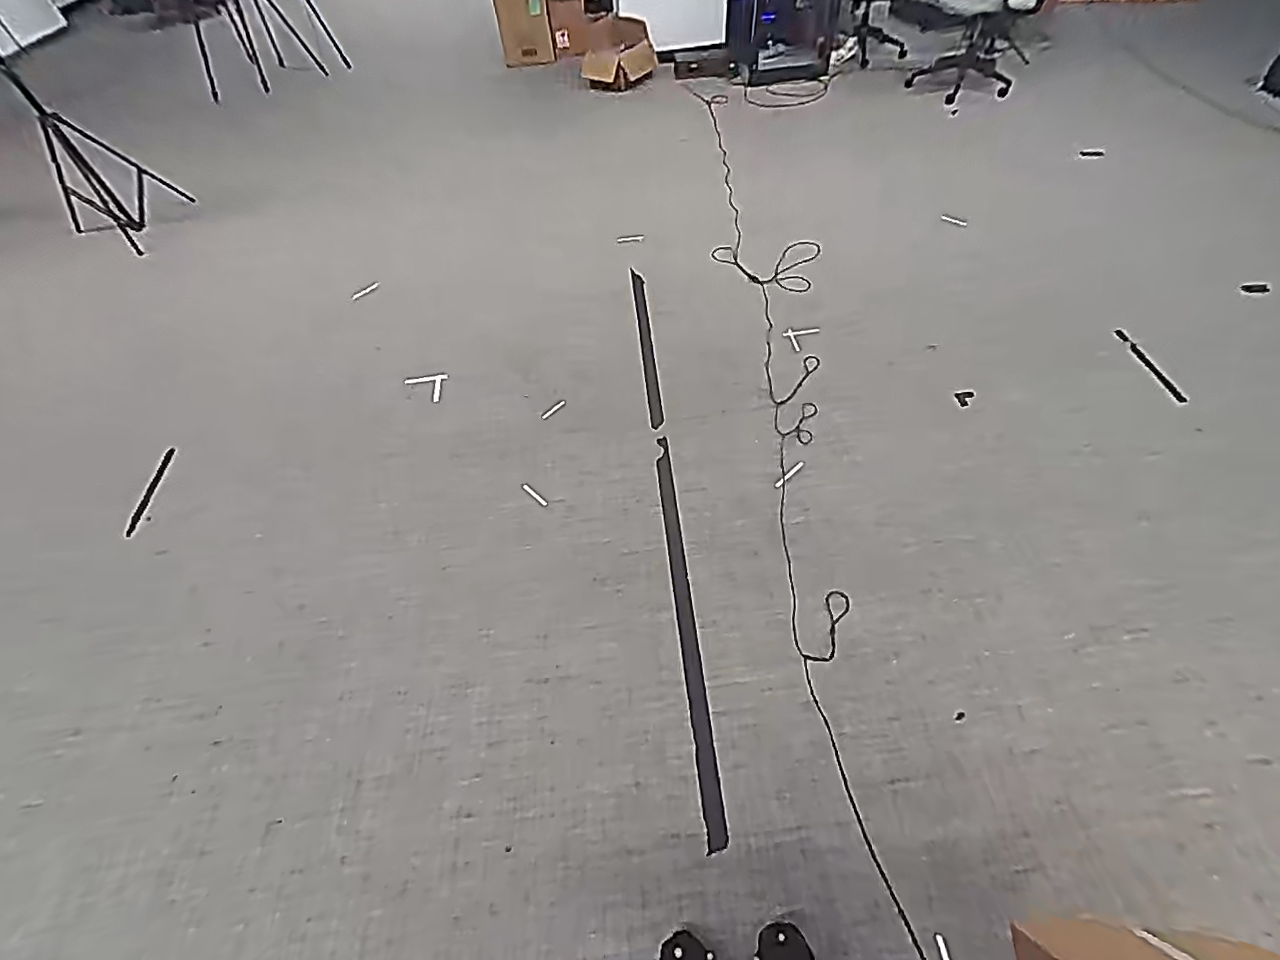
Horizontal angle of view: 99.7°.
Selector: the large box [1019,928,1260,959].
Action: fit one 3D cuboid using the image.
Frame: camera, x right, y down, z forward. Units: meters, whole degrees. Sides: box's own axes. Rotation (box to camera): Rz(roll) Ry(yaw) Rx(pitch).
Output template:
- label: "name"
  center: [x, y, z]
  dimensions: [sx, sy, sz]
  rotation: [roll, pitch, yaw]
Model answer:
- label: "large box"
  center: [0.645, 0.708, 0.504]
  dimensions: [0.320, 0.408, 0.320]
  rotation: [0, 70, 8]
